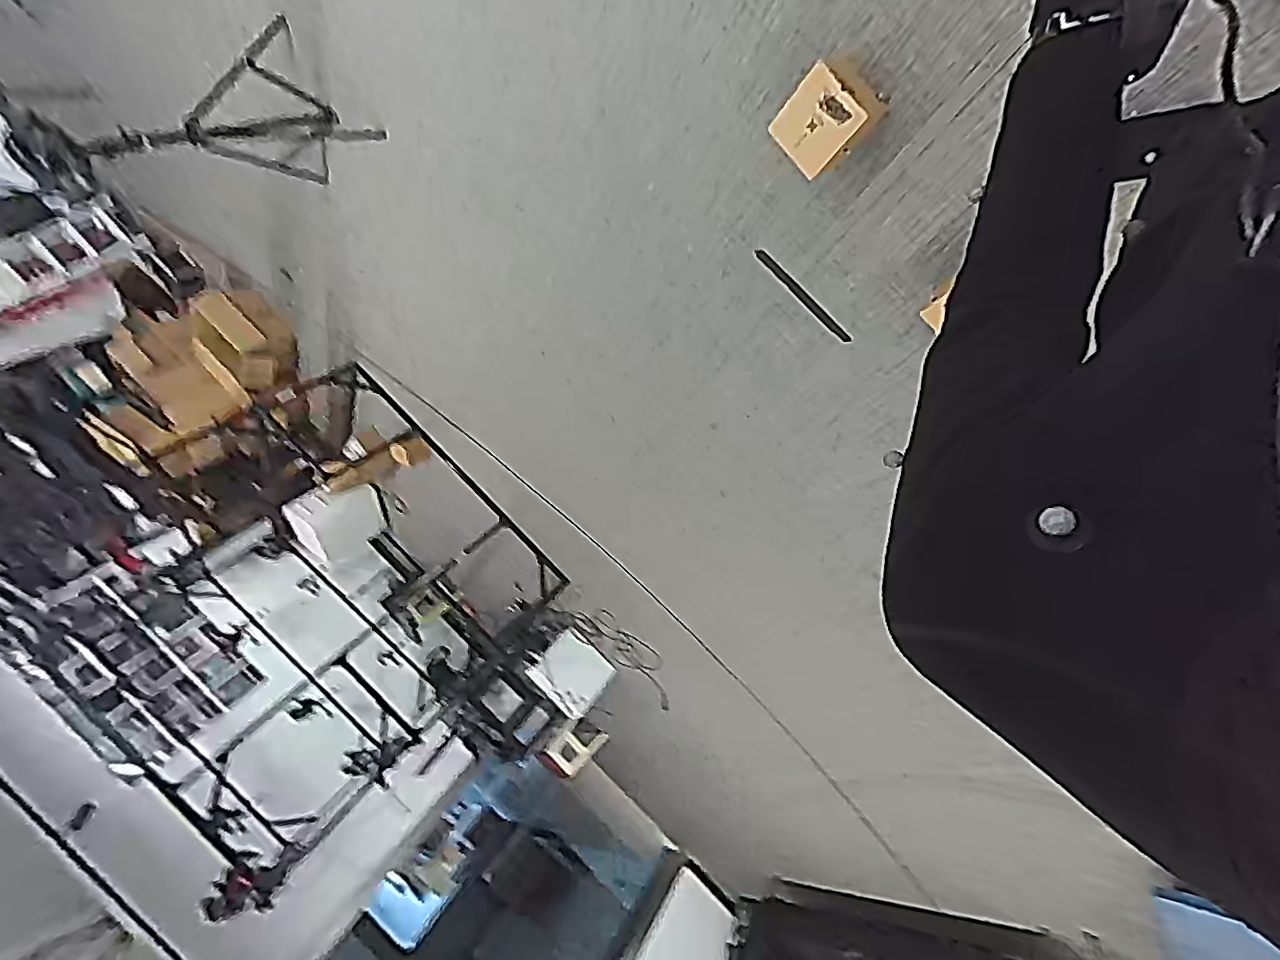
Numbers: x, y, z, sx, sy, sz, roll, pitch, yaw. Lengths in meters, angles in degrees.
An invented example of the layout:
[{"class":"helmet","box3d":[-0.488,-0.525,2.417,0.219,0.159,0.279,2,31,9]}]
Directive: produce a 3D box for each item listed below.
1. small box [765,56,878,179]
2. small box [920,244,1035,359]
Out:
[{"class":"small box","box3d":[0.436,-0.860,1.278,0.168,0.176,0.179,48,142,-3]},{"class":"small box","box3d":[0.822,-0.437,1.313,0.168,0.176,0.179,46,142,-2]}]
